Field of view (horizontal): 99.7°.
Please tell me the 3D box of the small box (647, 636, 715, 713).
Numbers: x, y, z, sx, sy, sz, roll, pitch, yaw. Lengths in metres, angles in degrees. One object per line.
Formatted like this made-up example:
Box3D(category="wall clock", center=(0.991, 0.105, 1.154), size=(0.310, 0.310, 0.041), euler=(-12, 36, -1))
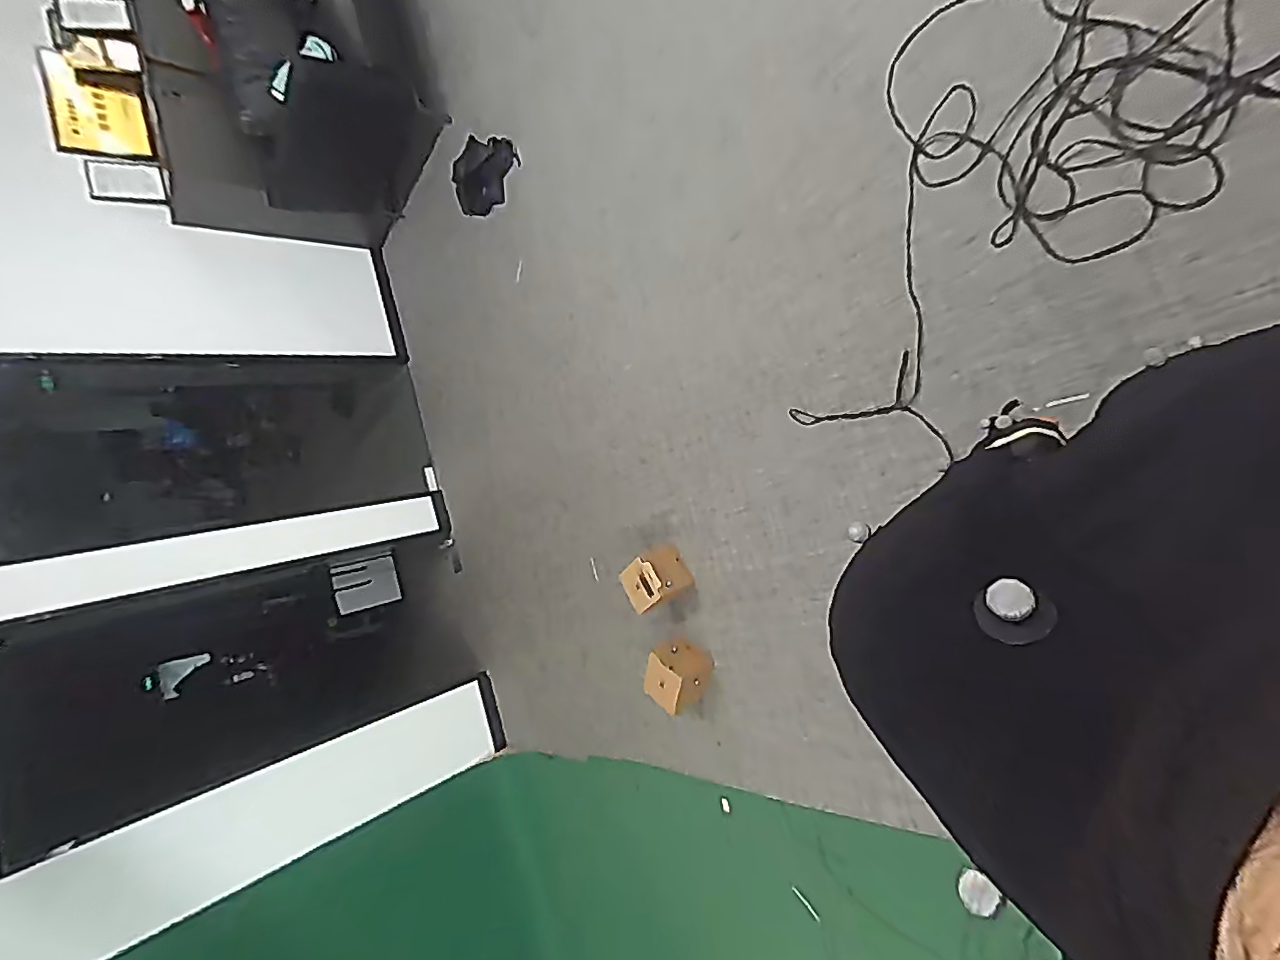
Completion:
Box3D(category="small box", center=(0.150, 0.699, 1.966), size=(0.168, 0.176, 0.179), euler=(29, 120, 42))
